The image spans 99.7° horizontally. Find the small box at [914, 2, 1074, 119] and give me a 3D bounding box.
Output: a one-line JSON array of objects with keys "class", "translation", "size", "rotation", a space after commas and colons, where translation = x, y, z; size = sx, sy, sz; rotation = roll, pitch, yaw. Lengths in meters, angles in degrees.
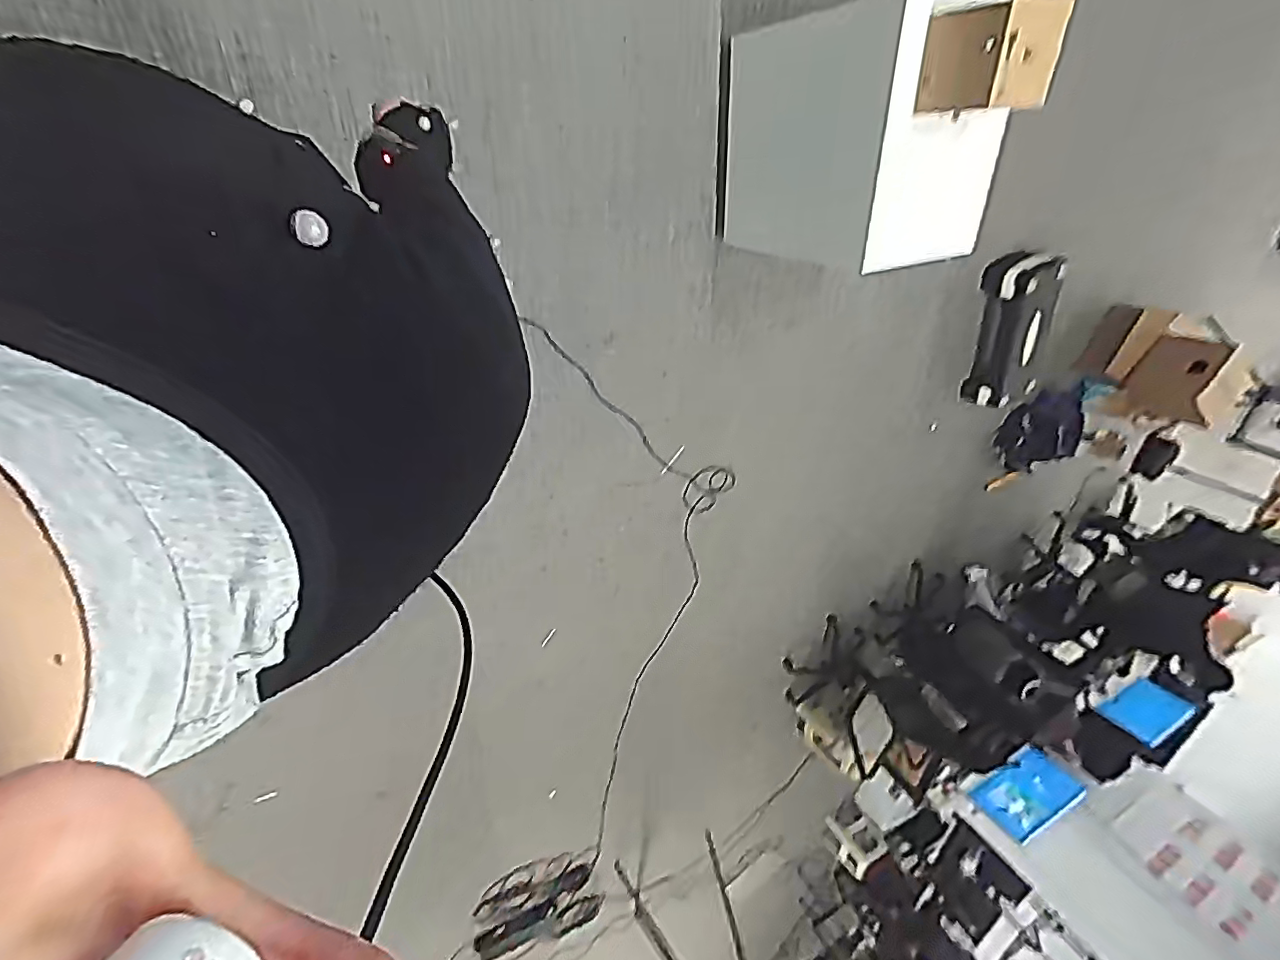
[{"class": "small box", "translation": [0.677, -0.805, 1.051], "size": [0.179, 0.176, 0.168], "rotation": [-19, 127, -22]}]
